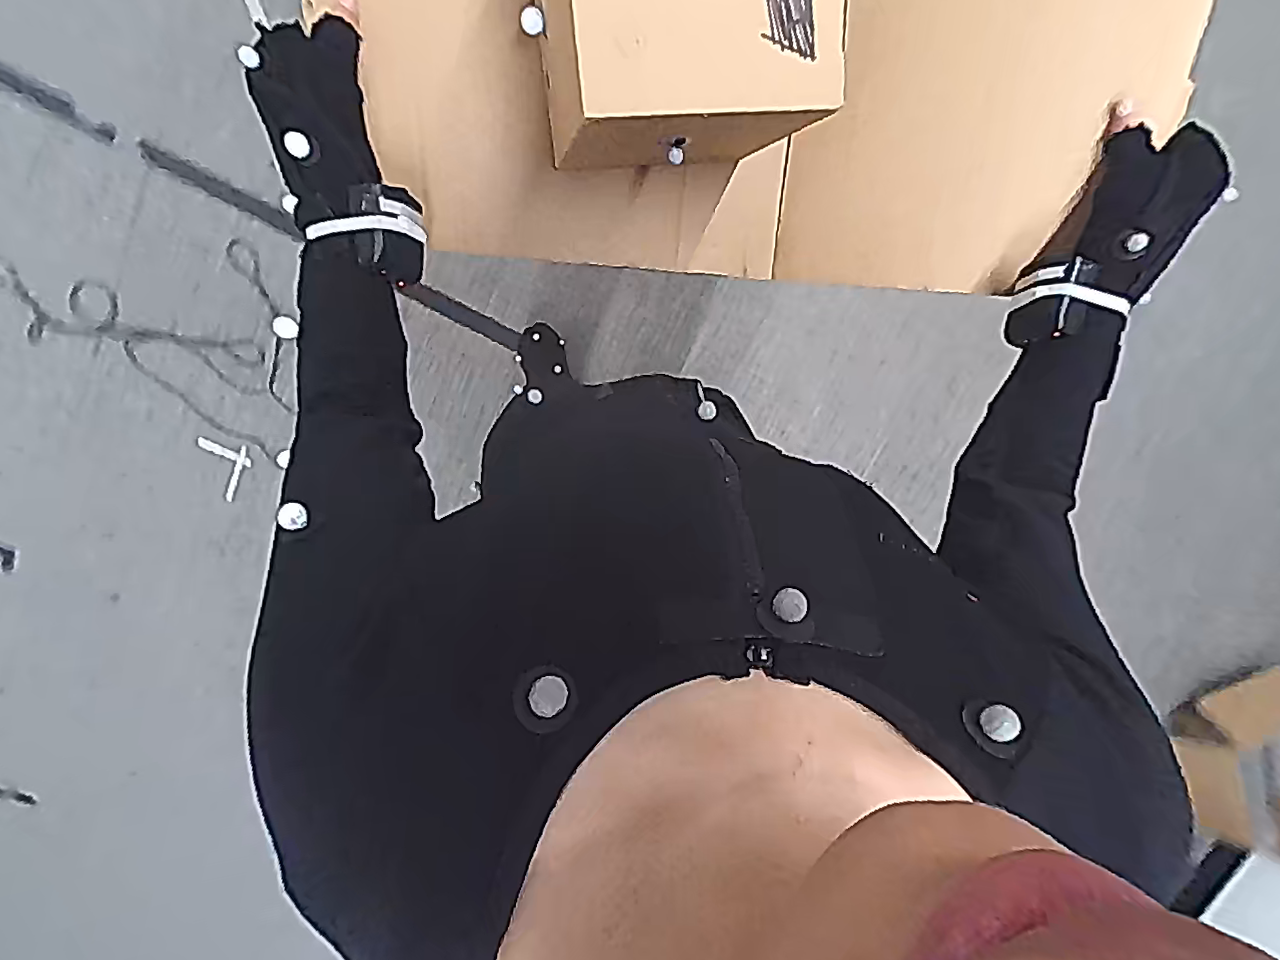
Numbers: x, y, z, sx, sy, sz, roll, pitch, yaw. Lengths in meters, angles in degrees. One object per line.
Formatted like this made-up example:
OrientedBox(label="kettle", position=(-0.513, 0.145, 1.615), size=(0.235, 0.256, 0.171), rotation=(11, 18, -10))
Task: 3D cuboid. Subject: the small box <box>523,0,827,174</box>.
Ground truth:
OrientedBox(label="small box", position=(0.014, -0.334, 0.395), size=(0.179, 0.176, 0.168), rotation=(-11, 111, -11))
